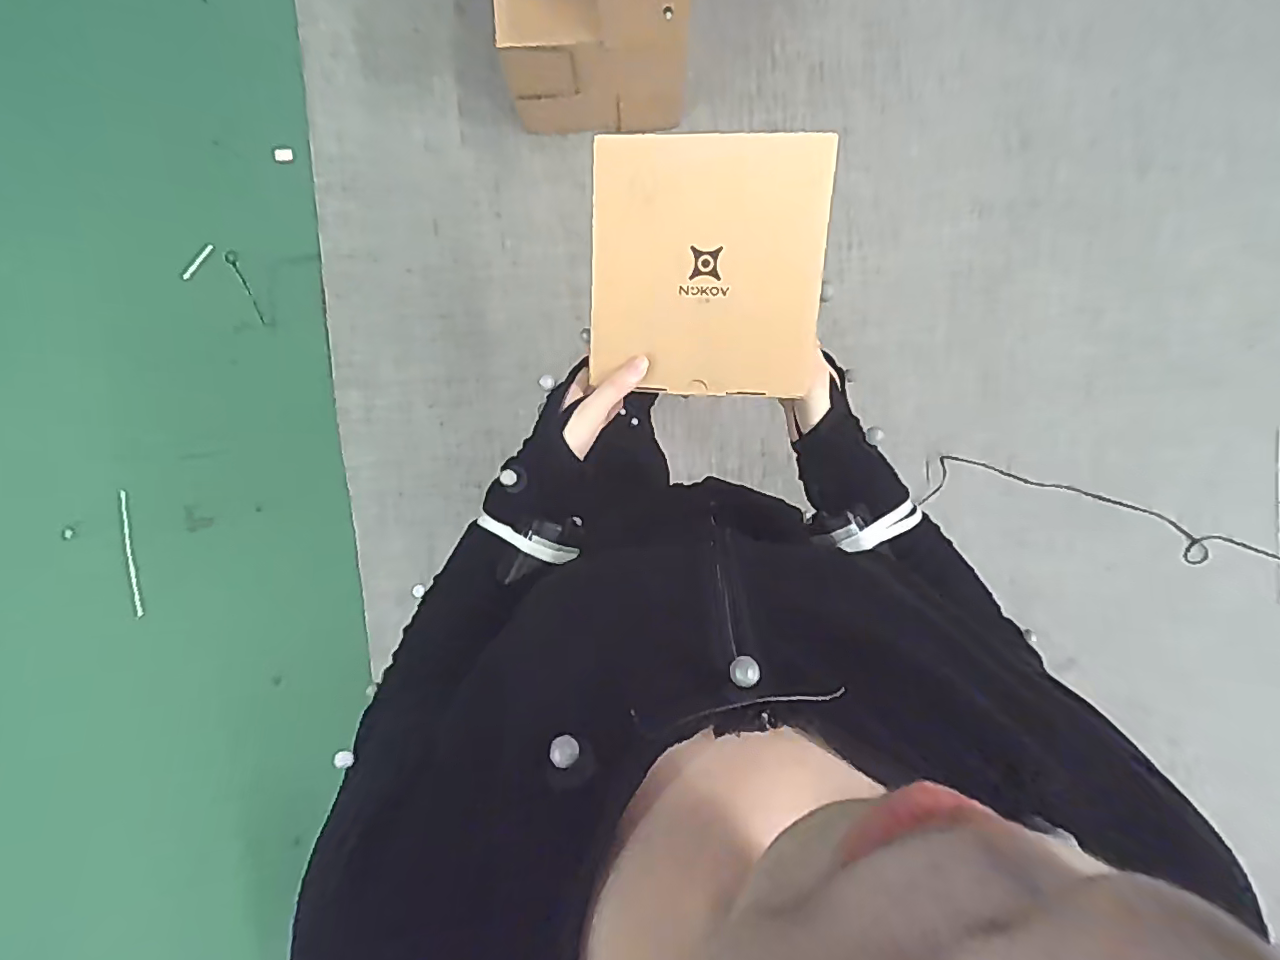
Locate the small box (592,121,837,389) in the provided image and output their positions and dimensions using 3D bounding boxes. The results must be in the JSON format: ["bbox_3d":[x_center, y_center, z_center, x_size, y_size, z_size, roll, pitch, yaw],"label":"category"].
[{"bbox_3d":[0.056,-0.176,0.461,0.168,0.176,0.179,3,105,6],"label":"small box"}]
